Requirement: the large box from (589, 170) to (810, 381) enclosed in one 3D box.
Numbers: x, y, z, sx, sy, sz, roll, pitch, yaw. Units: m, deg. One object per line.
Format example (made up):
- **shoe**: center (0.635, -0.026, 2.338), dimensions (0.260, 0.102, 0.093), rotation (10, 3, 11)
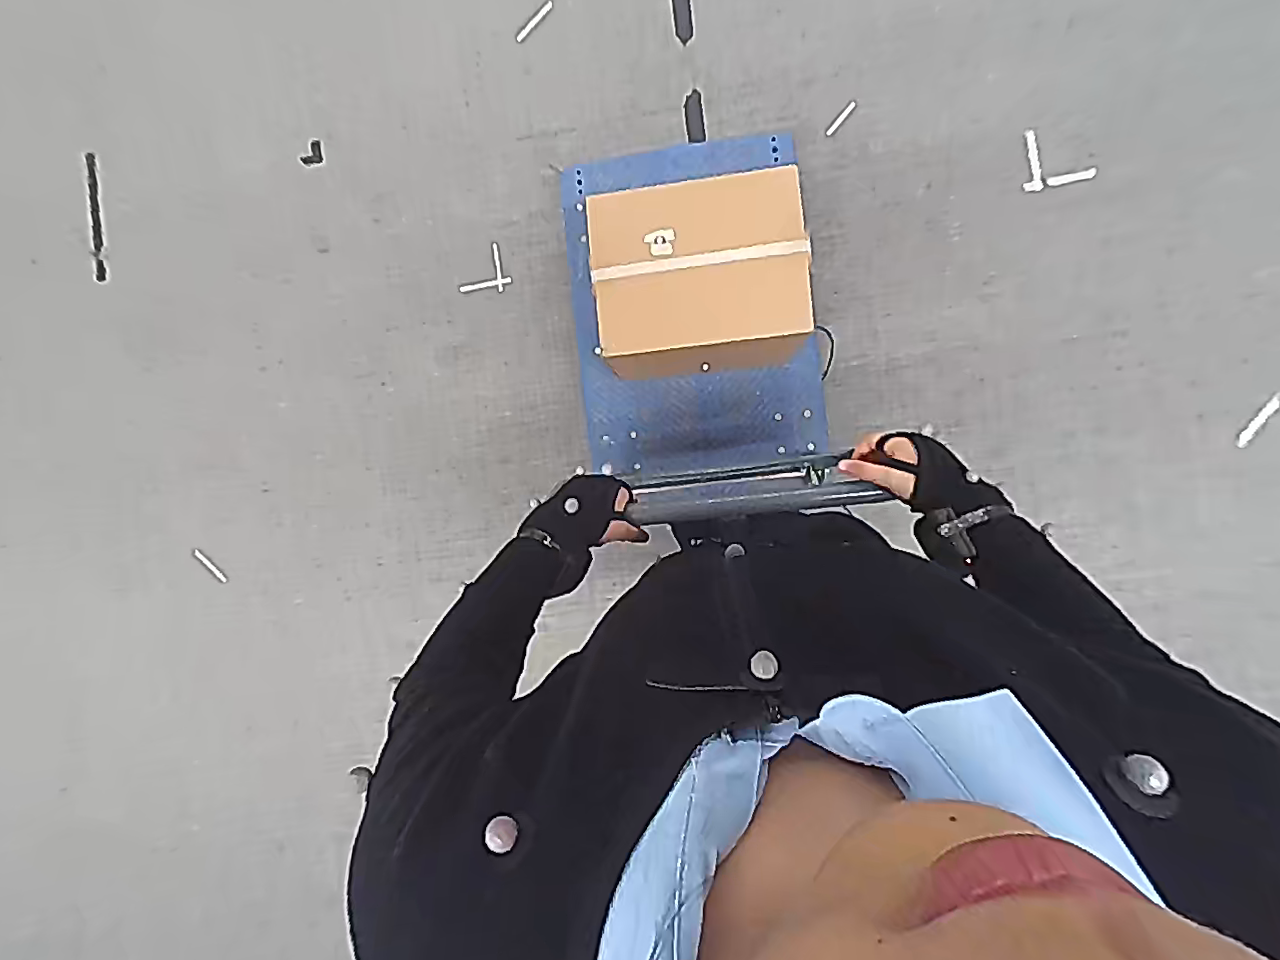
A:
- **large box**: center (0.129, -0.416, 1.192), dimensions (0.408, 0.320, 0.320), rotation (-6, 89, 7)
